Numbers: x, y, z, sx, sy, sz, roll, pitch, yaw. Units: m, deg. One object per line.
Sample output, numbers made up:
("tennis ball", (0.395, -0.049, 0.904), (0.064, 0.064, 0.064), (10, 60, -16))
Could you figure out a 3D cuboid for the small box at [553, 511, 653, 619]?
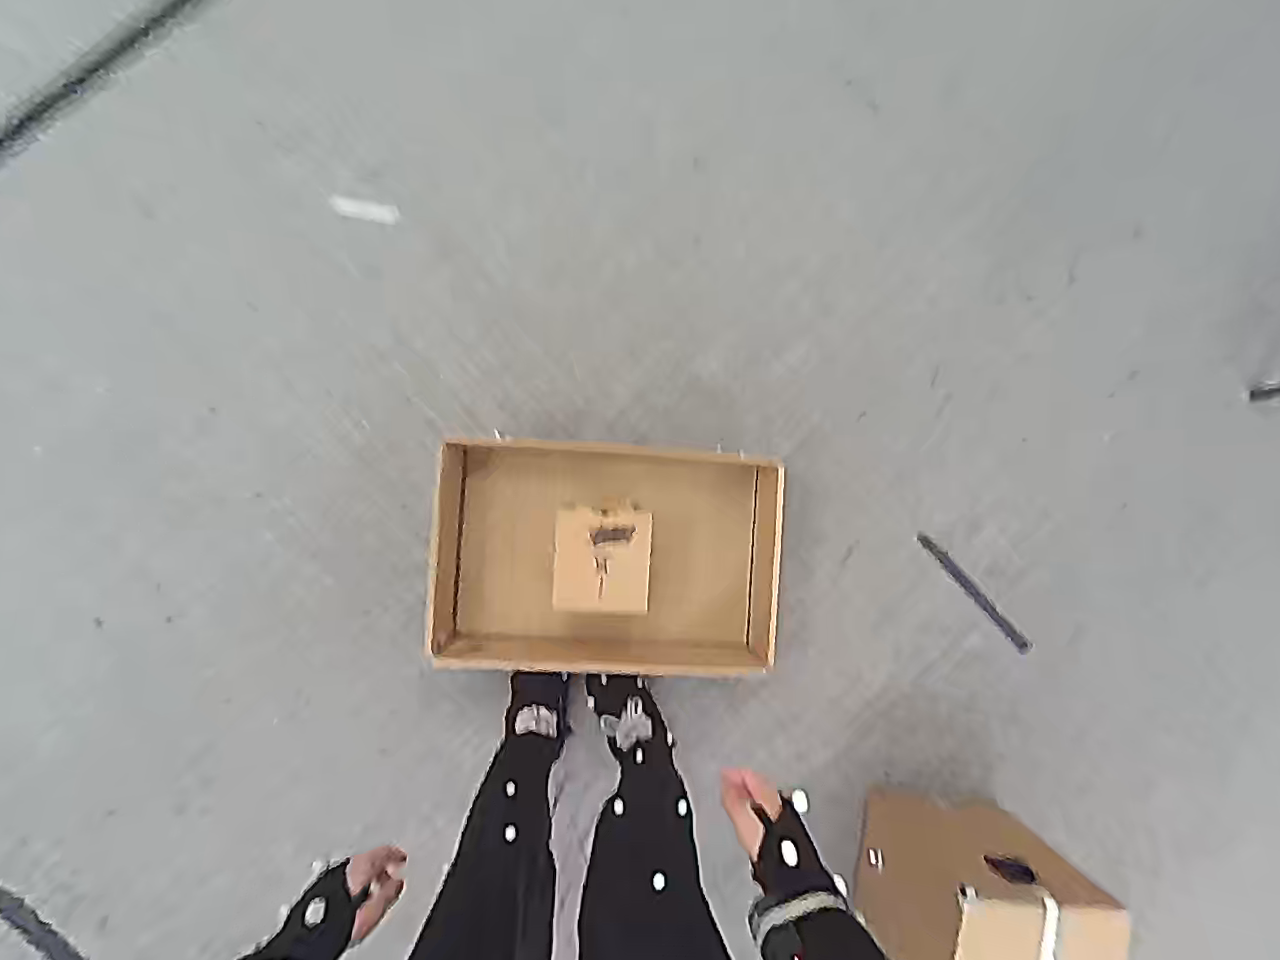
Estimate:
("small box", (-0.071, 0.151, 1.016), (0.168, 0.176, 0.179), (3, 90, -5))
